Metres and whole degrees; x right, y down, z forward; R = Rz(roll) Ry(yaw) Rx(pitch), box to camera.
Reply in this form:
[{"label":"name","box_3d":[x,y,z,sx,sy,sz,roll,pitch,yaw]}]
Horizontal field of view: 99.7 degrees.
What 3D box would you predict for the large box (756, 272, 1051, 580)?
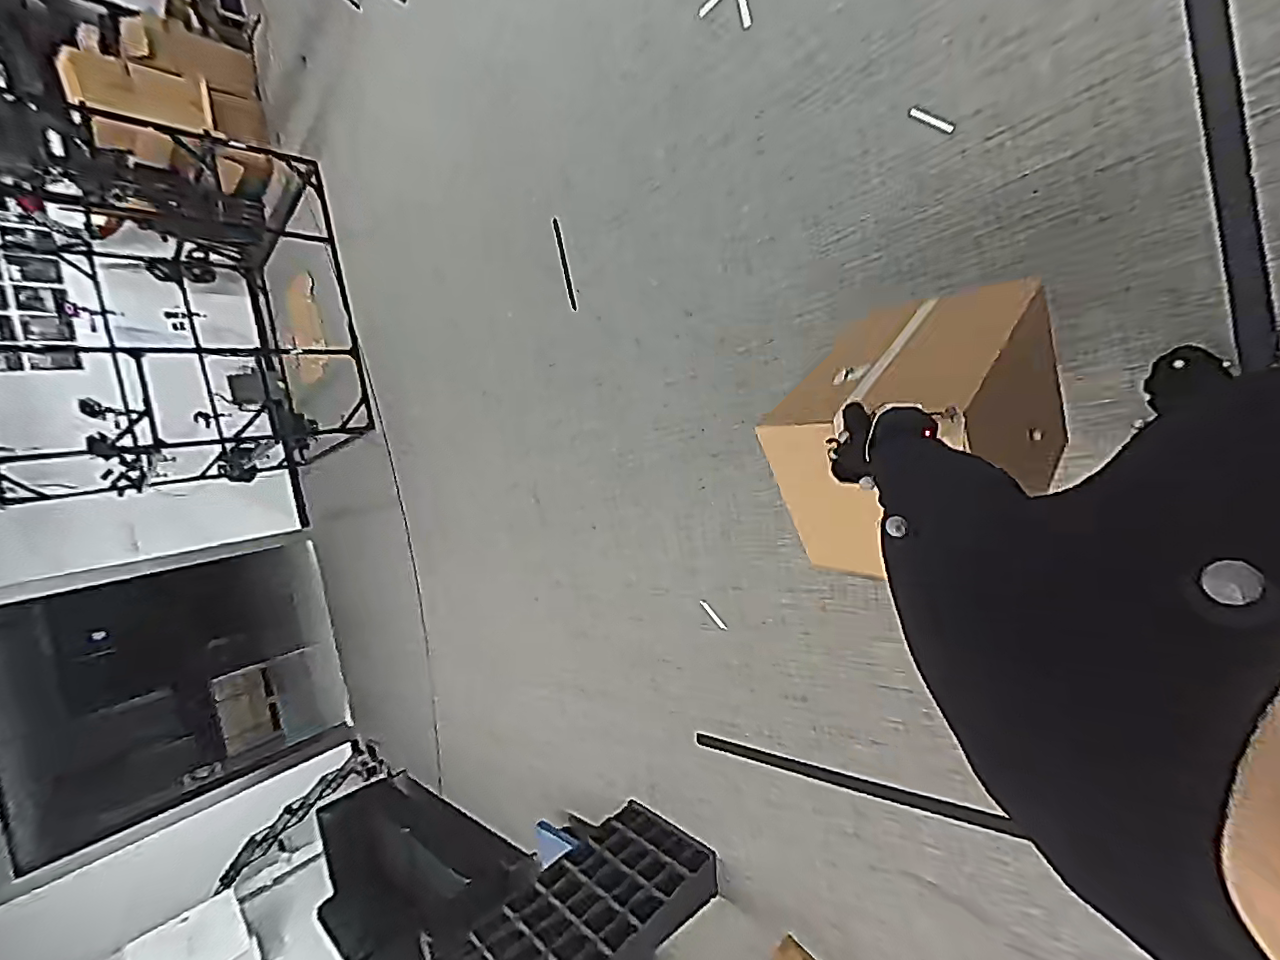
[{"label":"large box","box_3d":[0.471,-0.097,0.932,0.320,0.408,0.320,2,131,49]}]
